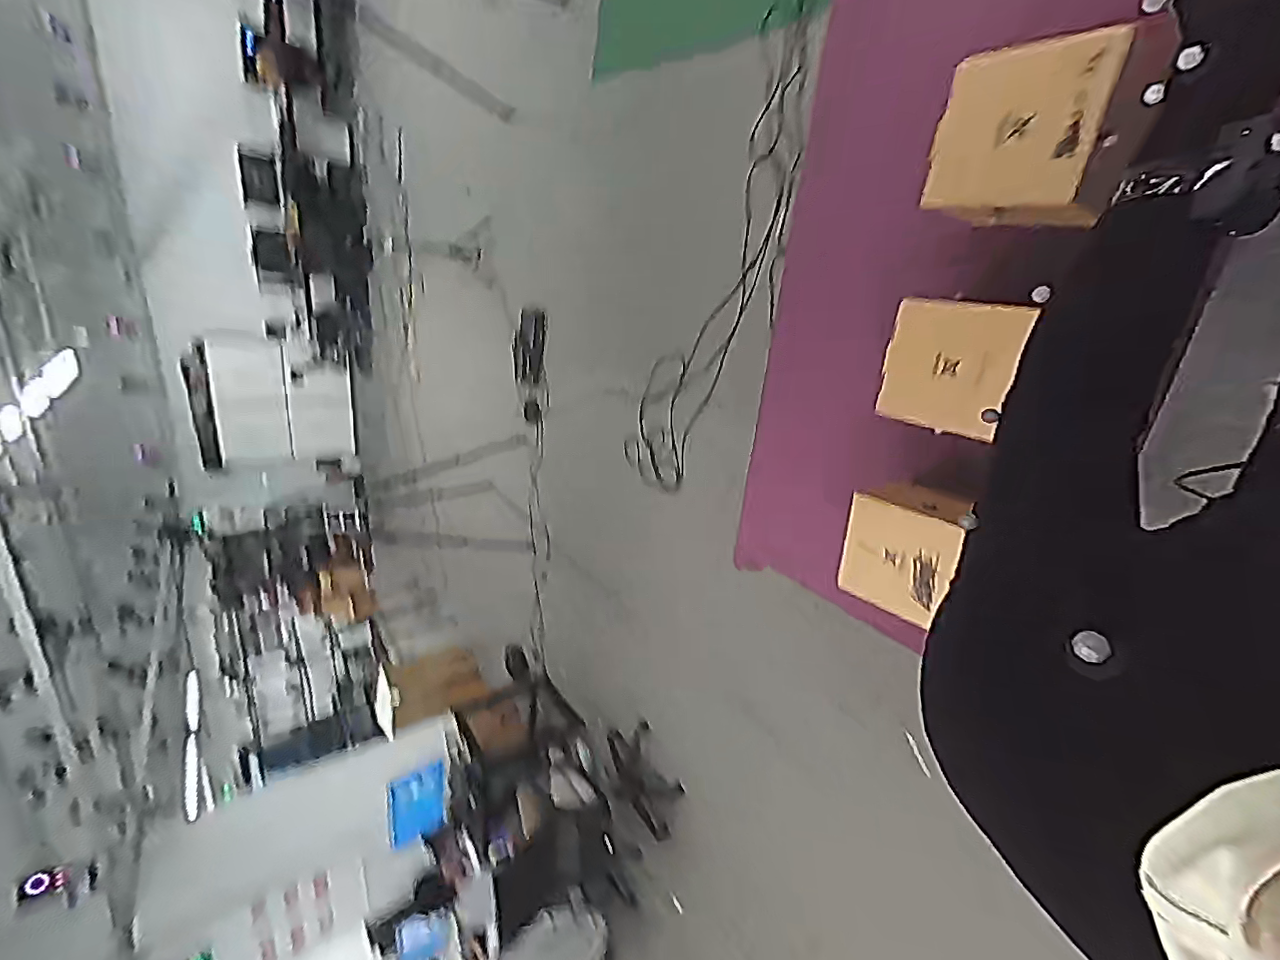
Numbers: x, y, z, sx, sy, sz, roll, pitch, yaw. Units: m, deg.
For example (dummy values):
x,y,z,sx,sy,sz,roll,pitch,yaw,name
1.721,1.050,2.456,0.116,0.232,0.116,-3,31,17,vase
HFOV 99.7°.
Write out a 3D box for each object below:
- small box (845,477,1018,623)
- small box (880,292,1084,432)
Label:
x,y,z,sx,sy,sz,roll,pitch,yaw,name
0.466,0.098,0.869,0.179,0.176,0.168,26,118,52,small box
0.488,-0.174,0.782,0.179,0.176,0.168,29,121,48,small box
